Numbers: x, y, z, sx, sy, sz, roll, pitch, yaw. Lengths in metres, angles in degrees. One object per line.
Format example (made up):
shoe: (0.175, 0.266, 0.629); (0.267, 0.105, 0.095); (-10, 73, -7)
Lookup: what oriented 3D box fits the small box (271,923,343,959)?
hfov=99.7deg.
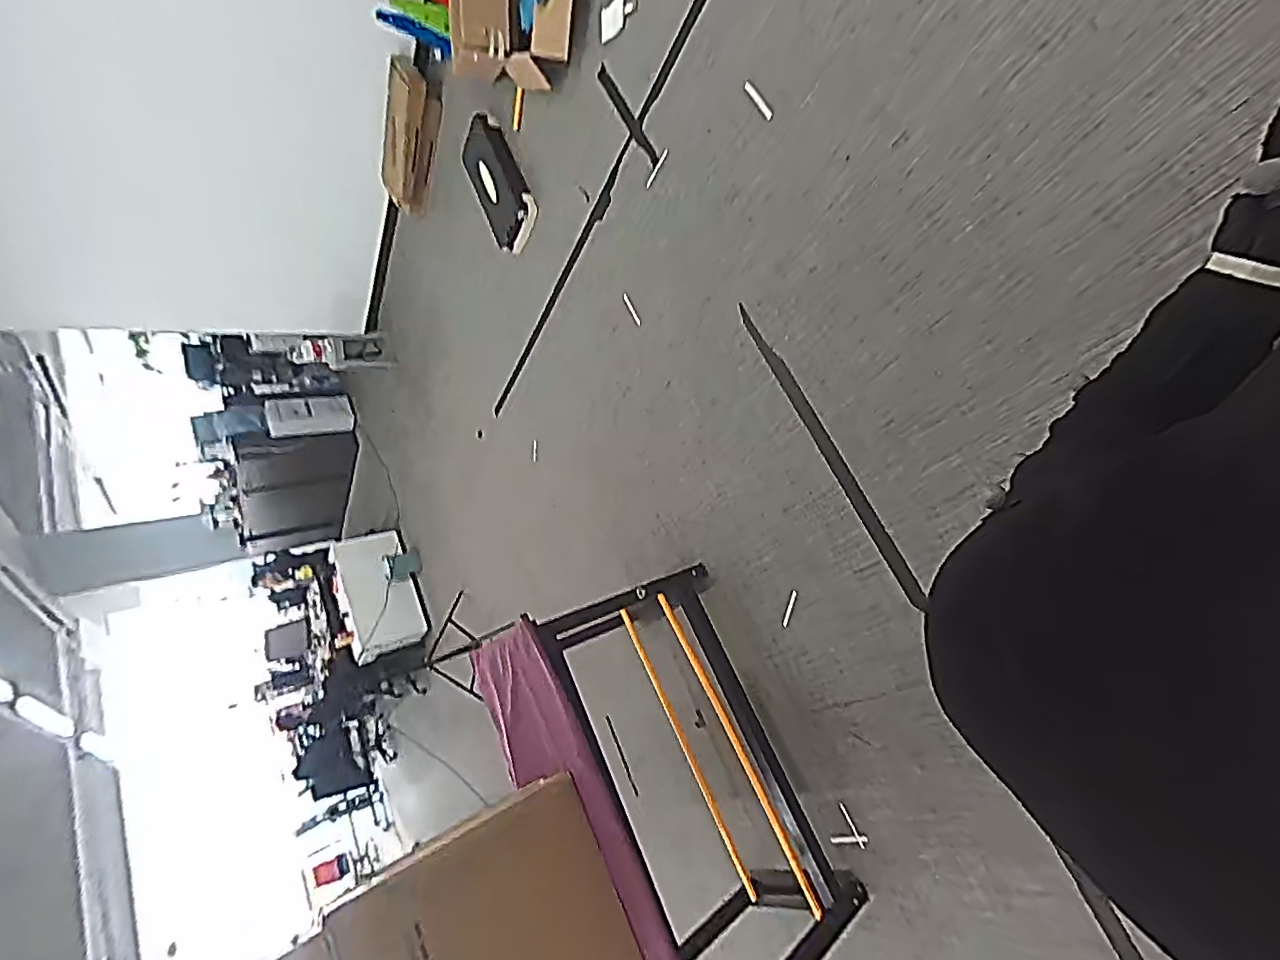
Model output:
small box: (-0.709, 1.077, 1.125); (0.179, 0.176, 0.168); (60, 138, 20)
